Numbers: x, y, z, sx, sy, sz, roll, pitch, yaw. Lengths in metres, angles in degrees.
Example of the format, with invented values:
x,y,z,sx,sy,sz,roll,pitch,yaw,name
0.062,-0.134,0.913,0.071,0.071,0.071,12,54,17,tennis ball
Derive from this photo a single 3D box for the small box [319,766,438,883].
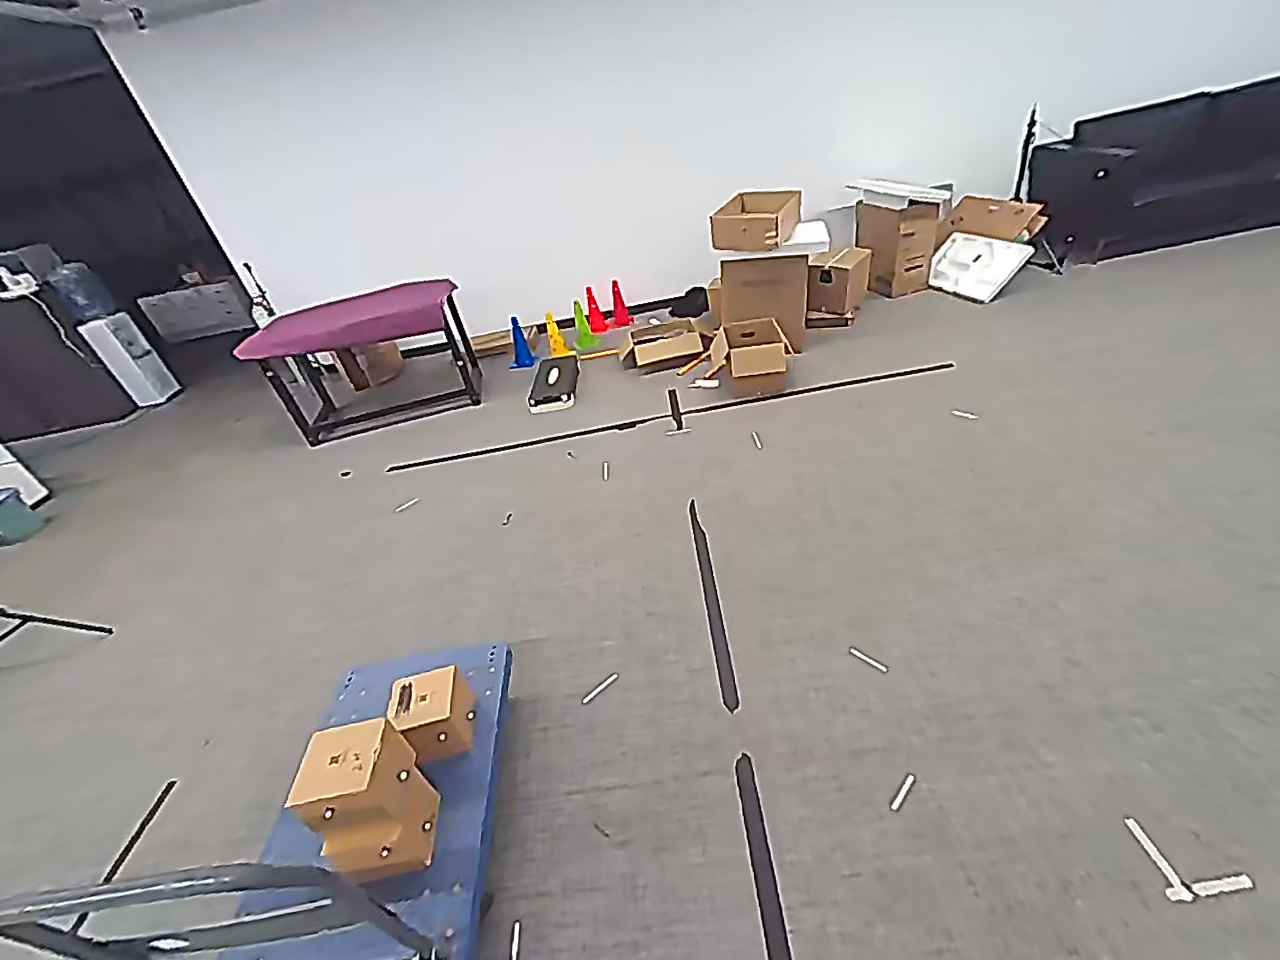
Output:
x,y,z,sx,sy,sz,roll,pitch,yaw,name
-0.605,0.813,1.274,0.179,0.176,0.168,-12,35,-1,small box

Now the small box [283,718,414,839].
x,y,z,sx,sy,sz,roll,pitch,yaw,name
-0.635,0.666,1.203,0.179,0.176,0.168,-12,35,-1,small box
